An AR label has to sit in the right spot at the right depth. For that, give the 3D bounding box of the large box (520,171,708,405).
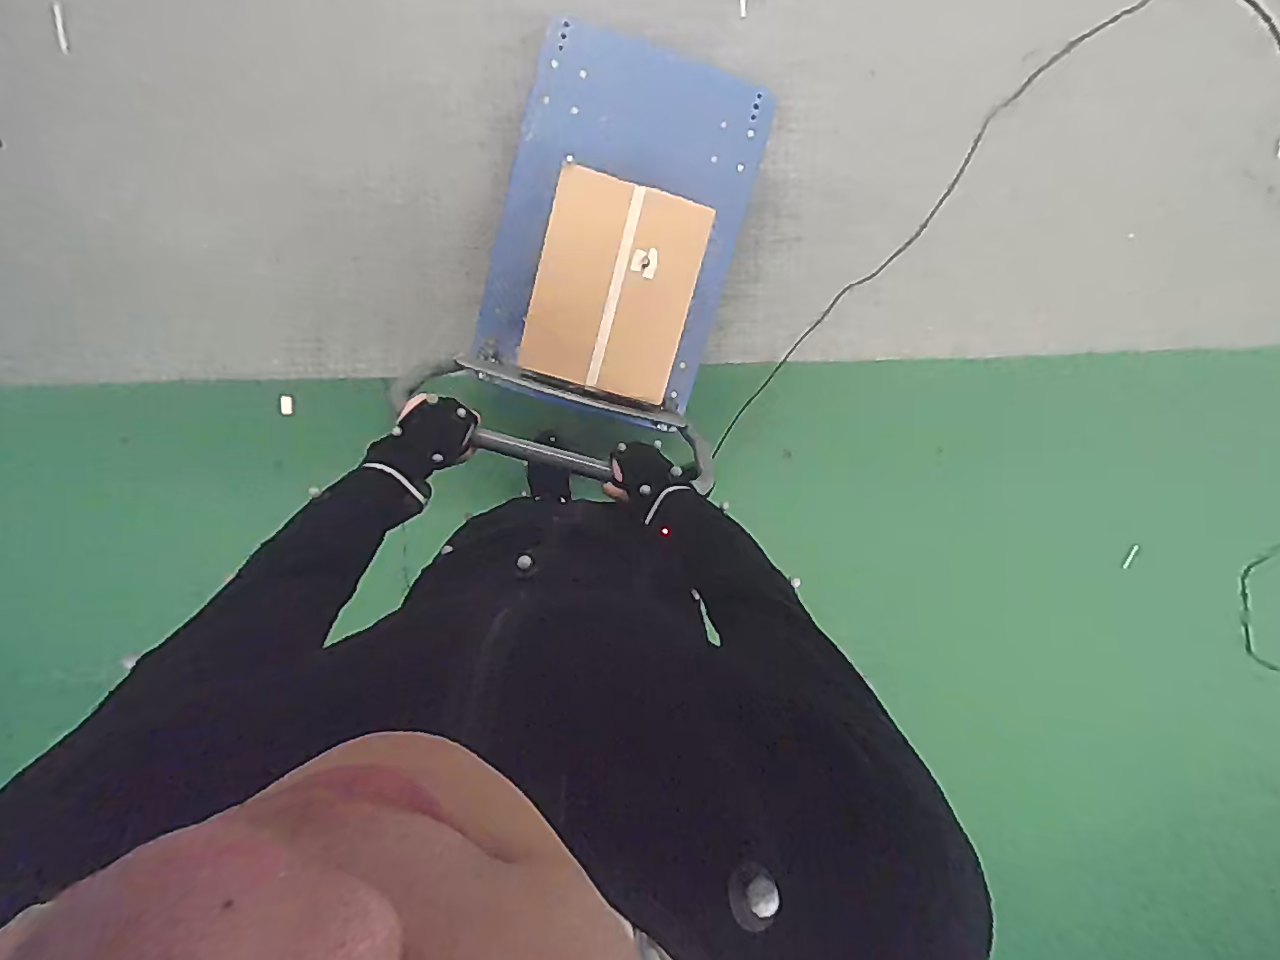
[{"bbox_3d":[-0.066,-0.403,1.243,0.320,0.320,0.408,14,98,-7],"label":"large box"}]
